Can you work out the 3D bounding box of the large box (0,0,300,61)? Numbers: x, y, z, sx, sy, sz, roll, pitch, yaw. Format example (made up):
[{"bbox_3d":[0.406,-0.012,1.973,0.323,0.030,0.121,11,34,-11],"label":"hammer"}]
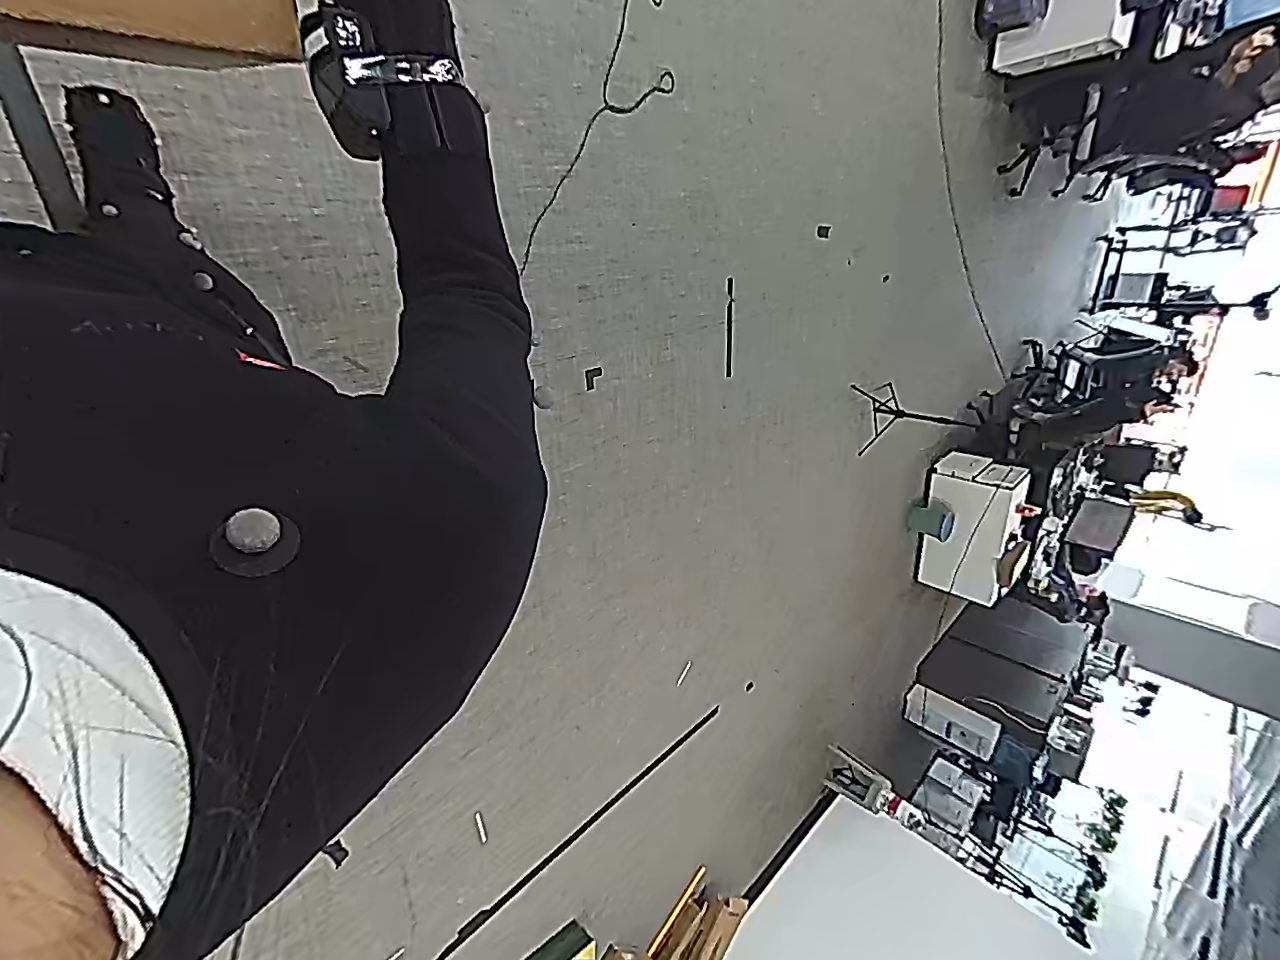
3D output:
[{"bbox_3d":[-0.442,-0.397,0.225,0.408,0.320,0.320,-22,132,-37],"label":"large box"}]
